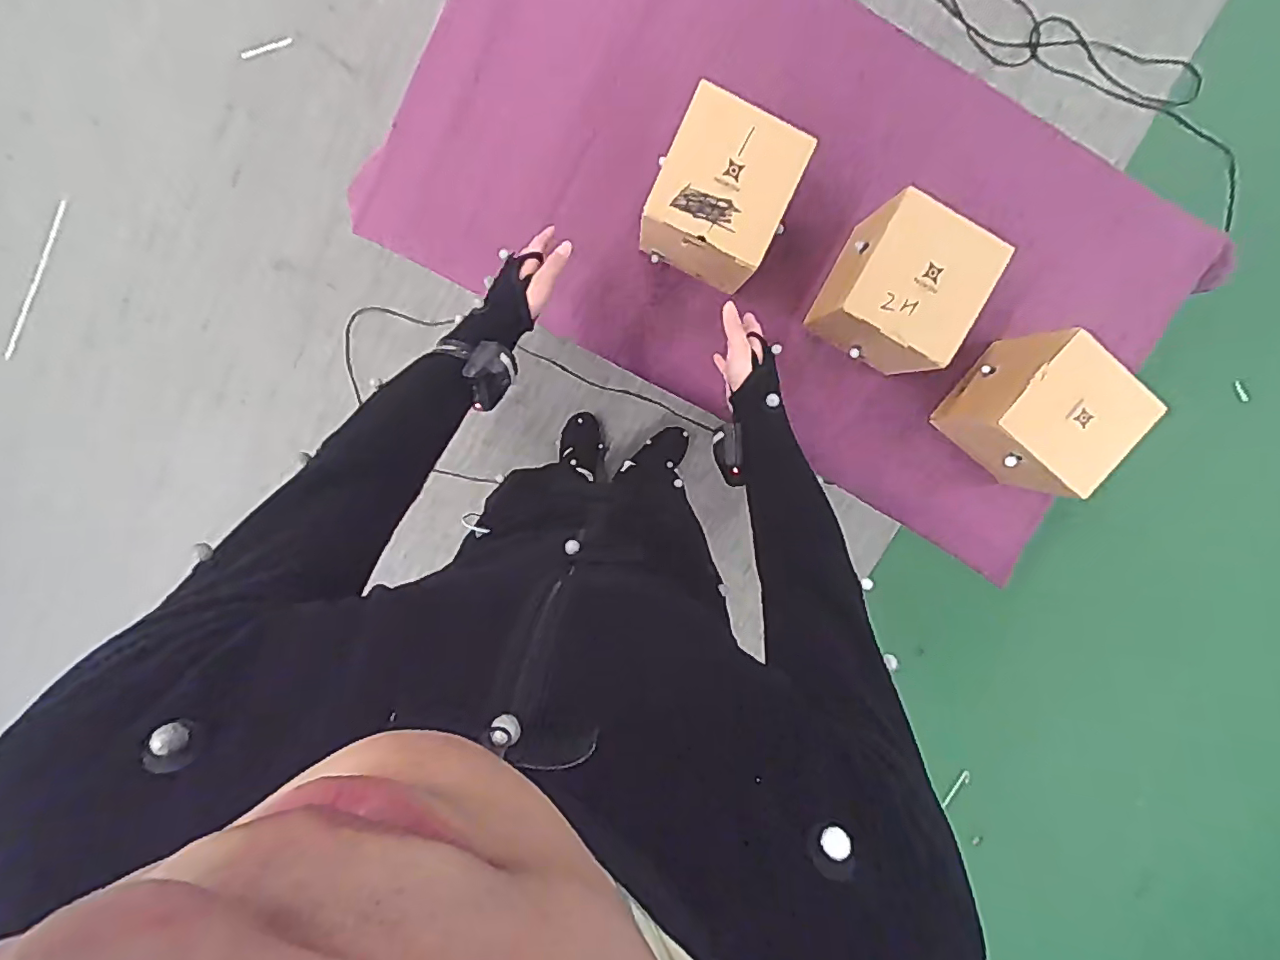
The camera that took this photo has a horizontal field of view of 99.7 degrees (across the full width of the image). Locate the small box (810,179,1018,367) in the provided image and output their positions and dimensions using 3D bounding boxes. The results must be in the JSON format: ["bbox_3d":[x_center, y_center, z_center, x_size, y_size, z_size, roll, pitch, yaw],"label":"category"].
[{"bbox_3d":[0.371,-0.278,0.771,0.168,0.176,0.179,28,98,-5],"label":"small box"}]

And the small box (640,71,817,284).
[{"bbox_3d":[0.110,-0.395,0.747,0.168,0.176,0.179,25,97,-5],"label":"small box"}]

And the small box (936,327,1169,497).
[{"bbox_3d":[0.596,-0.103,0.805,0.179,0.176,0.168,39,97,-5],"label":"small box"}]
